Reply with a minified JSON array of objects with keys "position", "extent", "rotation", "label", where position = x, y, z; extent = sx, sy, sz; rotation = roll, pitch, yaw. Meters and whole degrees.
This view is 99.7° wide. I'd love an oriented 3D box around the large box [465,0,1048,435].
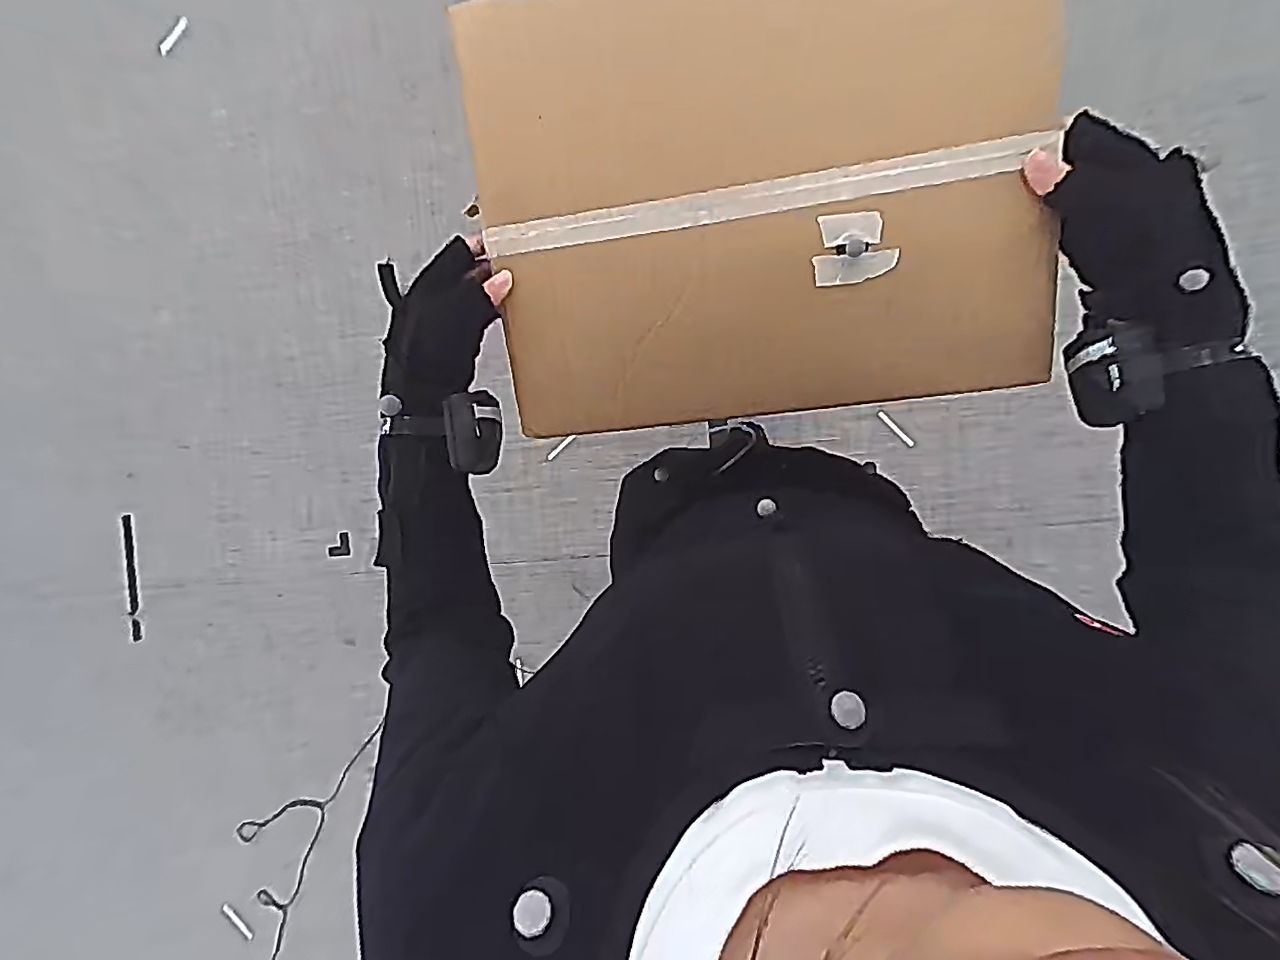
[{"position":[0.100,-0.244,0.547],"extent":[0.408,0.320,0.320],"rotation":[-6,104,8],"label":"large box"}]
